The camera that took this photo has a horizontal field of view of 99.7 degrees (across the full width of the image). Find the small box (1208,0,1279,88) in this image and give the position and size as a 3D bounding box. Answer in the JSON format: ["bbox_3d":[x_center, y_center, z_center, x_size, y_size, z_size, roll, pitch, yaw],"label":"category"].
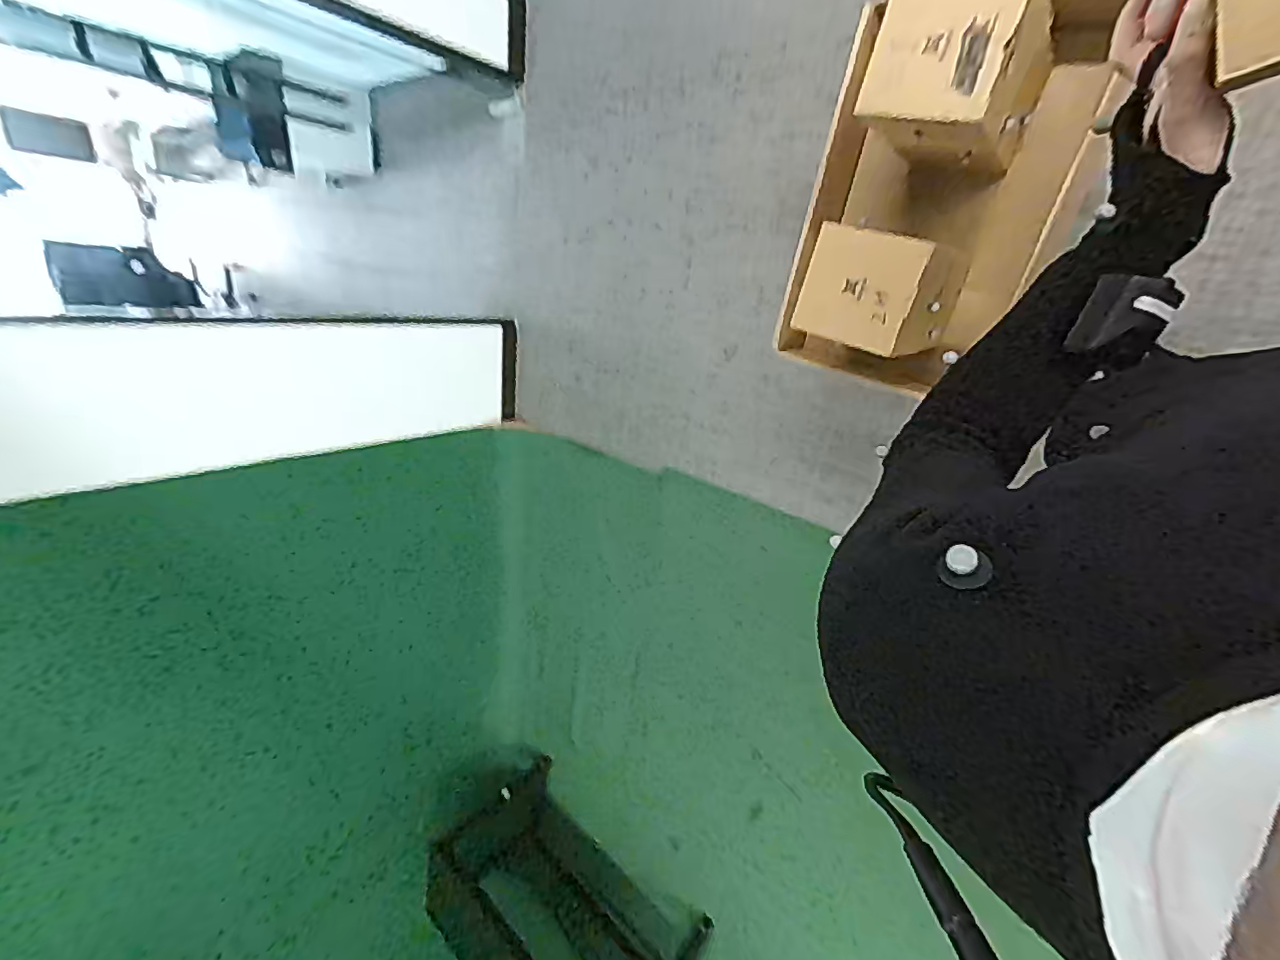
[{"bbox_3d":[0.436,-0.352,0.297,0.168,0.176,0.179,0,114,45],"label":"small box"}]

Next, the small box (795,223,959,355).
[{"bbox_3d":[0.395,-0.316,0.905,0.179,0.176,0.168,30,121,32],"label":"small box"}]

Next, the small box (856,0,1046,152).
[{"bbox_3d":[0.451,-0.590,0.782,0.179,0.176,0.168,29,119,32],"label":"small box"}]
